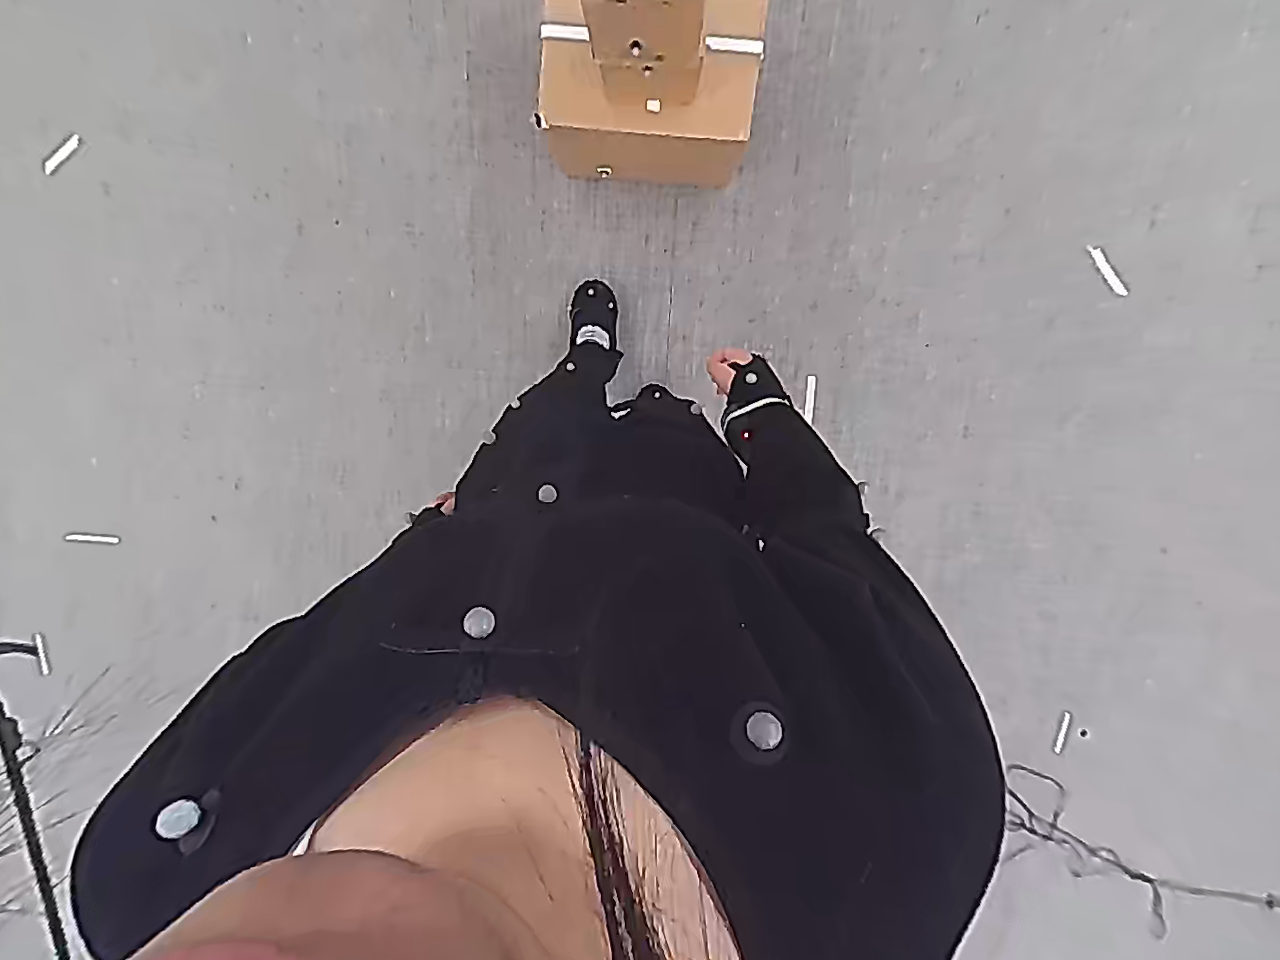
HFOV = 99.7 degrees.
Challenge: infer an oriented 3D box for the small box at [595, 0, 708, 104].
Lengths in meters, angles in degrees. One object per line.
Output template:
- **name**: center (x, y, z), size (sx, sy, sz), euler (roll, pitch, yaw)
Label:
- **small box**: center (0.021, -0.767, 0.917), size (0.179, 0.176, 0.168), euler (2, 104, 0)

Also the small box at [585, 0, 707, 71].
- **small box**: center (0.013, -0.721, 0.761), size (0.168, 0.176, 0.179), euler (4, 105, 1)
